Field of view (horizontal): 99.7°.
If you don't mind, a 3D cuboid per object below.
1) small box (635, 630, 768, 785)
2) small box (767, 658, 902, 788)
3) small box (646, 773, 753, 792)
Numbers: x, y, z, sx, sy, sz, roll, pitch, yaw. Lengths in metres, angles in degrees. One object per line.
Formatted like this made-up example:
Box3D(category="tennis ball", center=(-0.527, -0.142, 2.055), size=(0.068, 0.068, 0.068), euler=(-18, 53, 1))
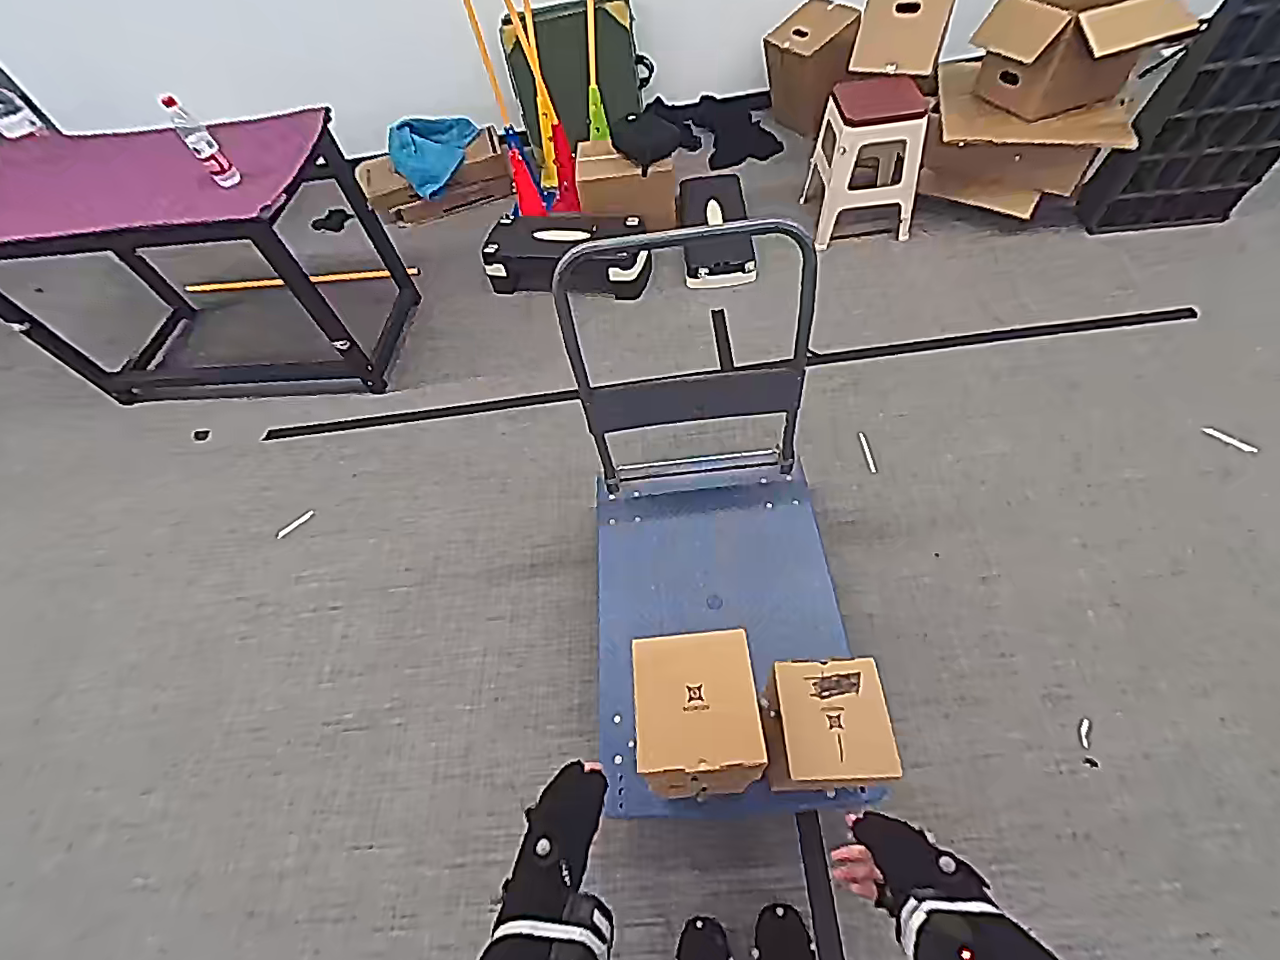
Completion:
Box3D(category="small box", center=(0.085, 0.339, 0.799), size=(0.168, 0.176, 0.179), euler=(-7, 57, 3))
Box3D(category="small box", center=(0.314, 0.415, 0.915), size=(0.168, 0.176, 0.179), euler=(-5, 57, 5))
Box3D(category="small box", center=(0.094, 0.432, 0.933), size=(0.168, 0.176, 0.179), euler=(-8, 57, 2))
